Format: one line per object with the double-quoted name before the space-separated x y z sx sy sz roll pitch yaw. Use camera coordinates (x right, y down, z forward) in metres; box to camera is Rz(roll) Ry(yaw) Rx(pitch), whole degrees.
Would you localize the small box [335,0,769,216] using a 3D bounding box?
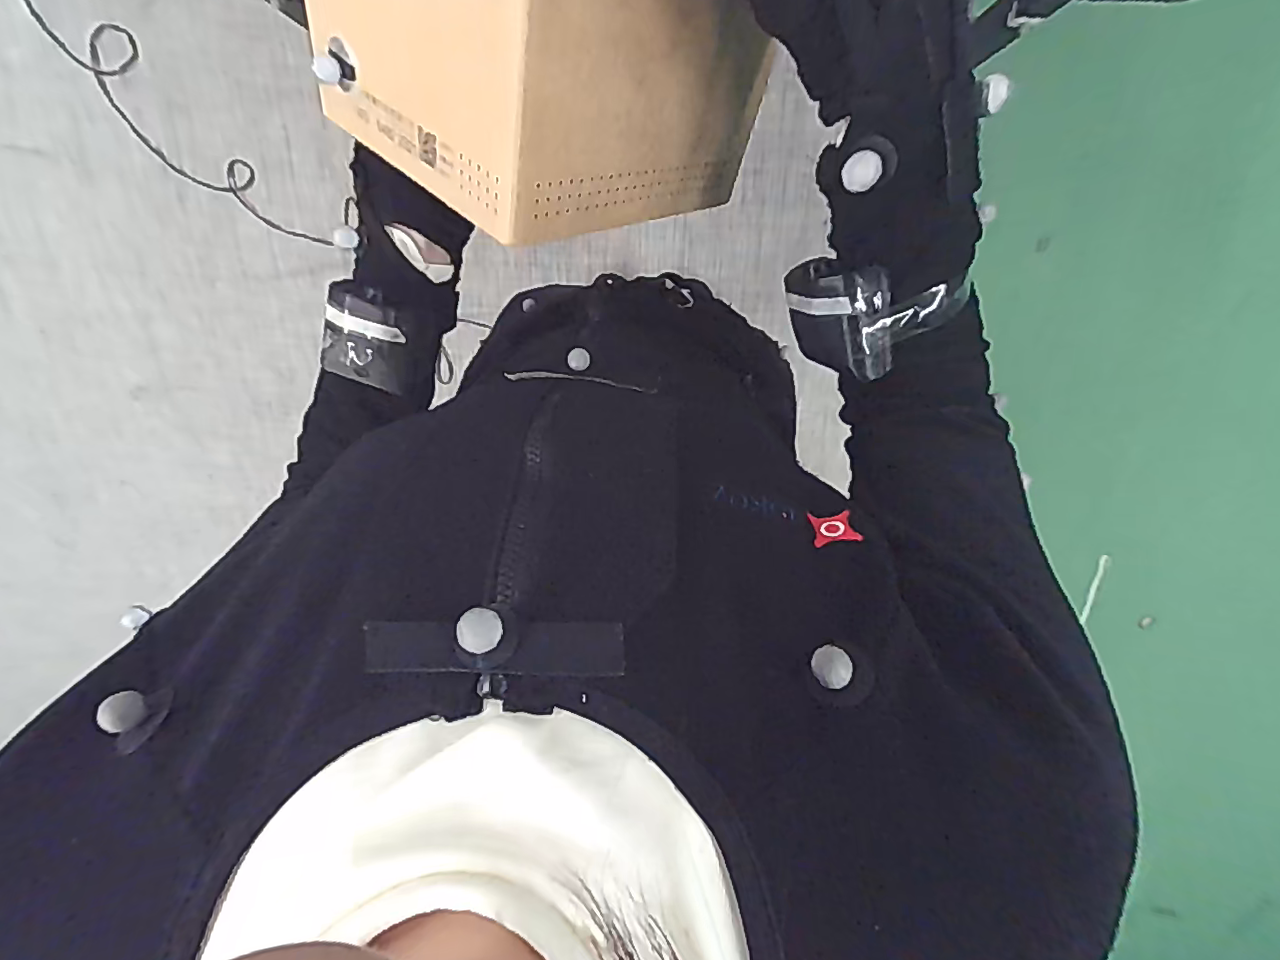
"small box" -0.041 -0.254 0.276 0.168 0.179 0.176 41 139 20
